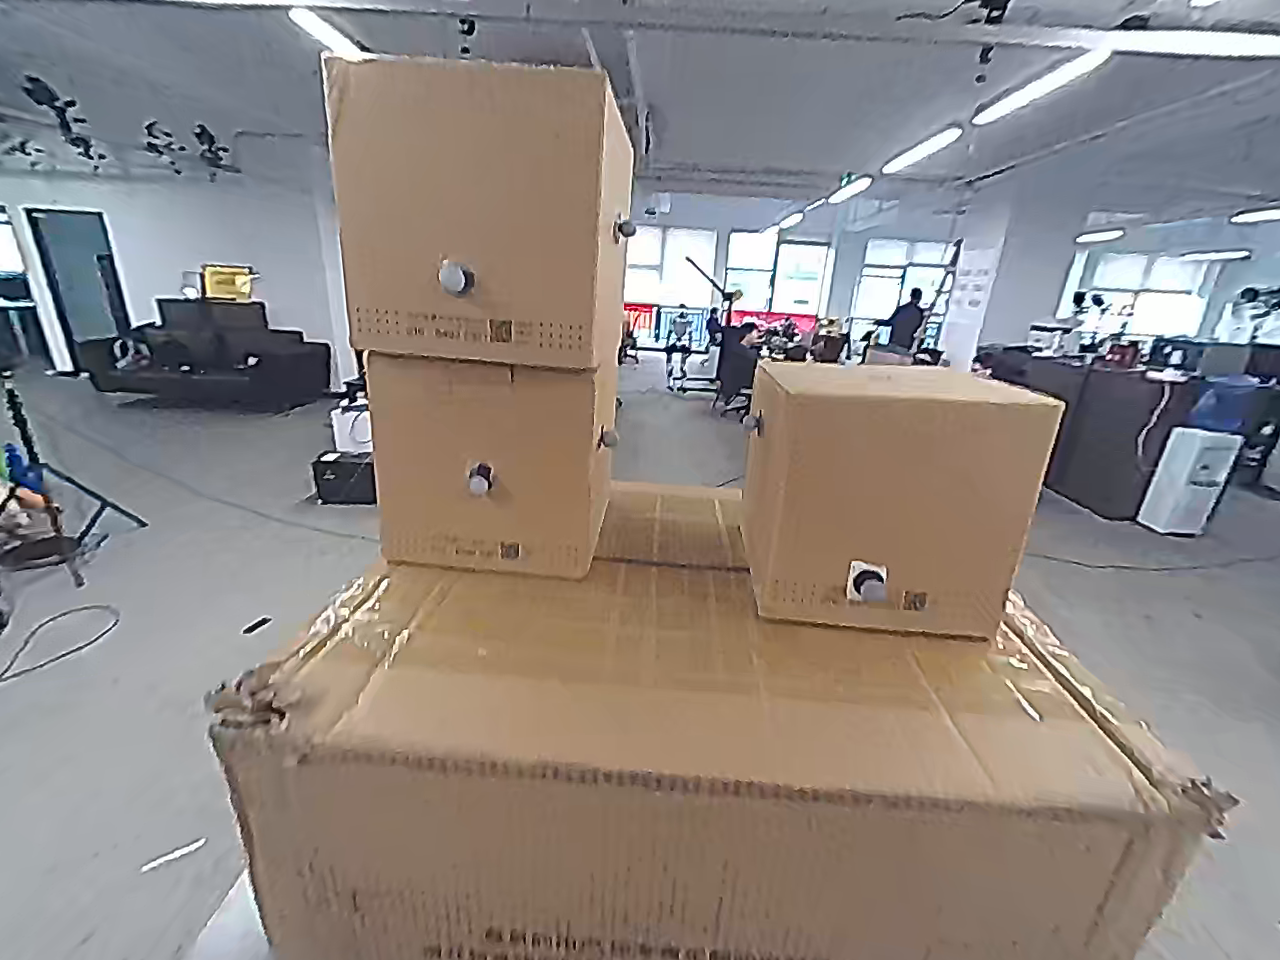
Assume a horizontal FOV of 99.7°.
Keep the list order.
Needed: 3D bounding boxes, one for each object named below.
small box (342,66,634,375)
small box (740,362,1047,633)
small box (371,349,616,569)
[{"bbox_3d":[-0.099,-0.184,0.420,0.168,0.176,0.179,5,20,2],"label":"small box"},{"bbox_3d":[0.176,0.001,0.444,0.168,0.176,0.179,2,19,4],"label":"small box"},{"bbox_3d":[-0.113,-0.034,0.491,0.168,0.176,0.179,5,20,1],"label":"small box"}]
